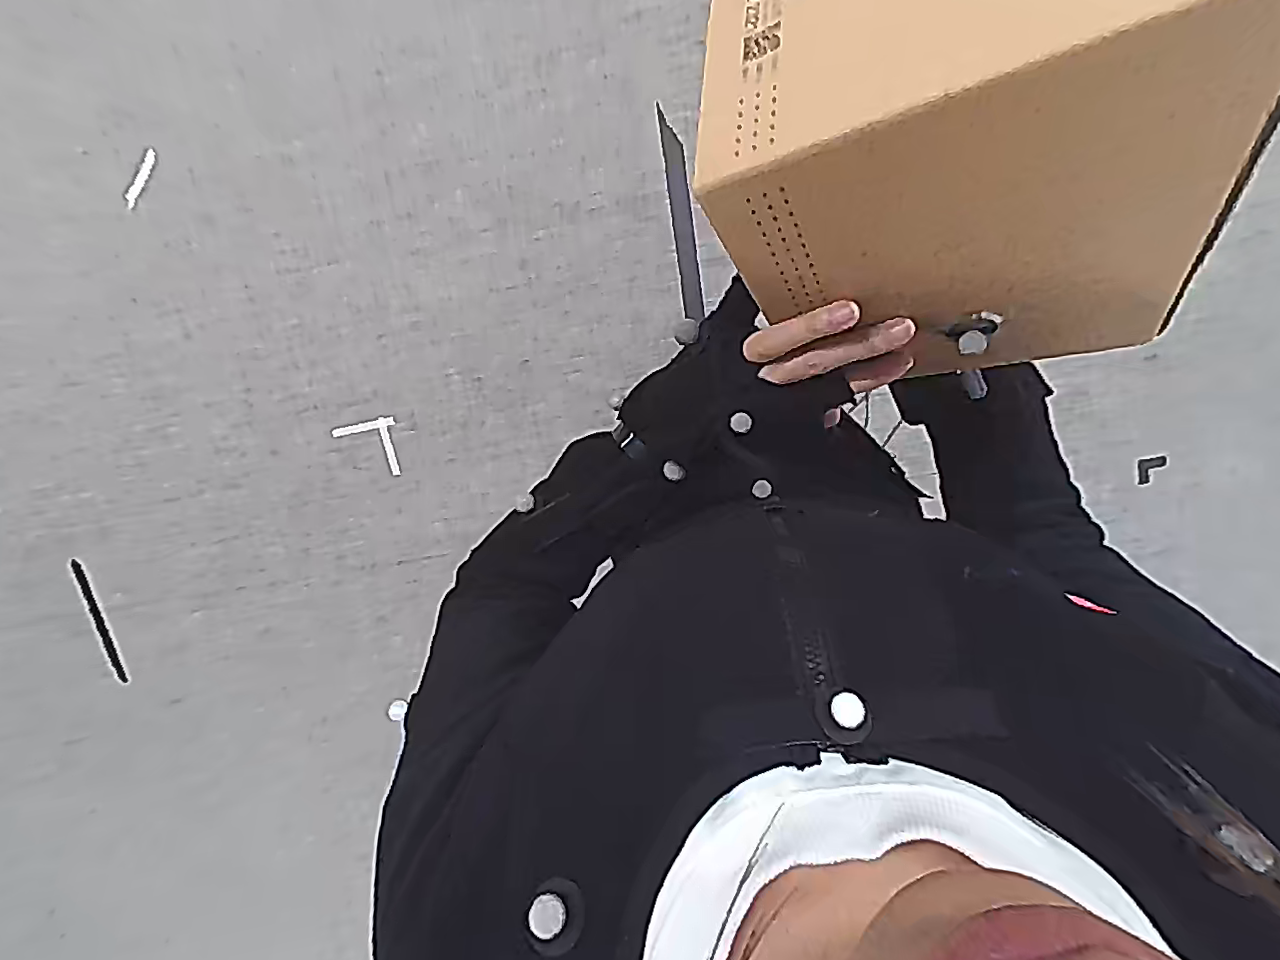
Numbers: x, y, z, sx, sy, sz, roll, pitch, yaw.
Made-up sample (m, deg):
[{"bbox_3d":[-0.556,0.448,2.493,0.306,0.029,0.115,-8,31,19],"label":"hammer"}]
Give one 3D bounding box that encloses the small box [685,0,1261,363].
[{"bbox_3d":[0.139,-0.172,0.268,0.176,0.179,0.168,-4,71,31],"label":"small box"}]
